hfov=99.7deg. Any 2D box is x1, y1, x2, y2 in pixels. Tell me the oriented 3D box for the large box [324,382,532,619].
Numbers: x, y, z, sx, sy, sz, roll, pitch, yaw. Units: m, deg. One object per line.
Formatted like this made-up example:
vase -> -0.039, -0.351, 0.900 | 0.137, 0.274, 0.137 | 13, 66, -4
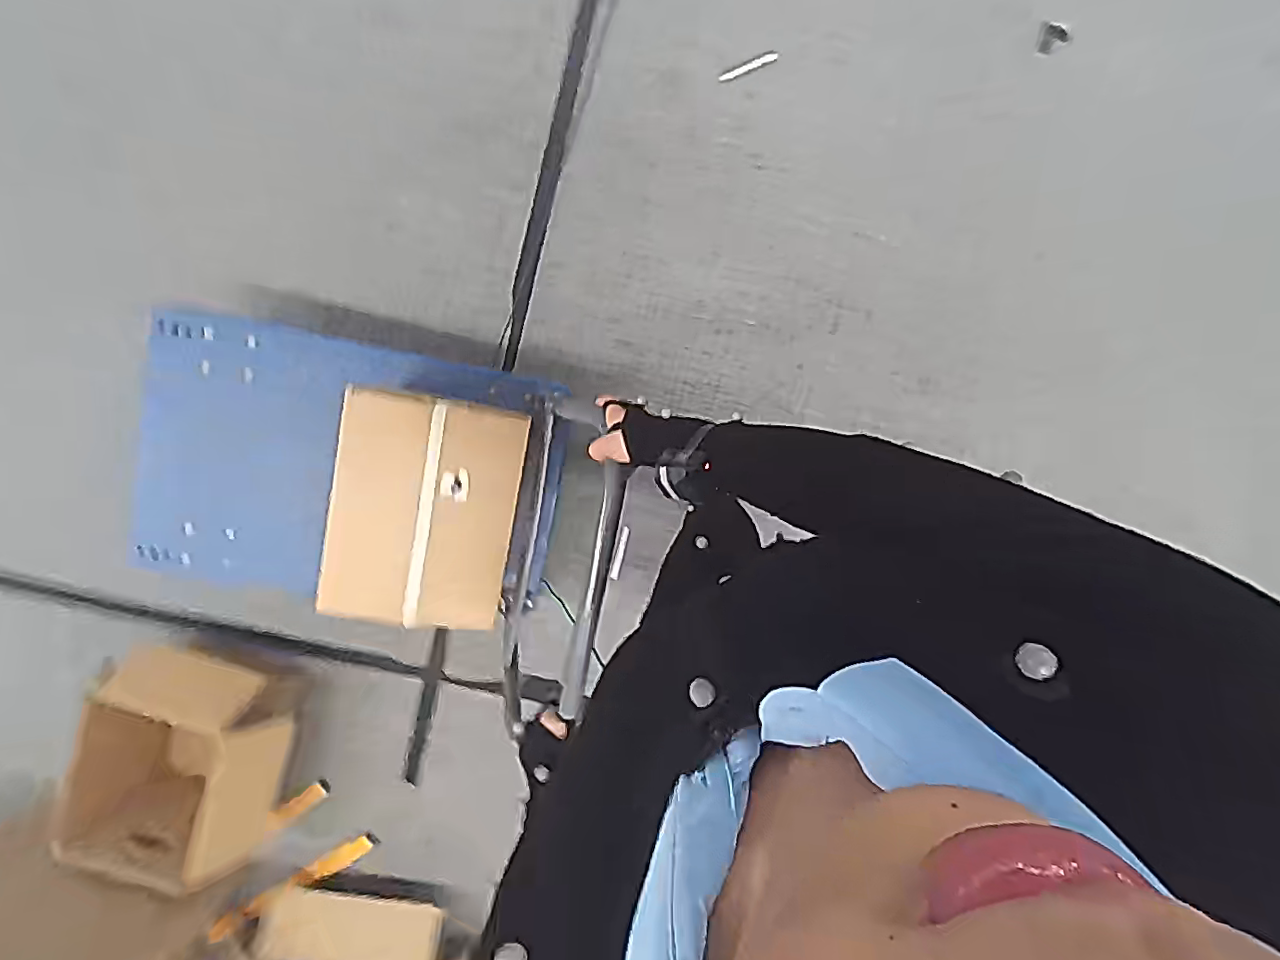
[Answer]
large box -> -0.410, 0.030, 1.119 | 0.320, 0.320, 0.408 | 10, 96, -13
